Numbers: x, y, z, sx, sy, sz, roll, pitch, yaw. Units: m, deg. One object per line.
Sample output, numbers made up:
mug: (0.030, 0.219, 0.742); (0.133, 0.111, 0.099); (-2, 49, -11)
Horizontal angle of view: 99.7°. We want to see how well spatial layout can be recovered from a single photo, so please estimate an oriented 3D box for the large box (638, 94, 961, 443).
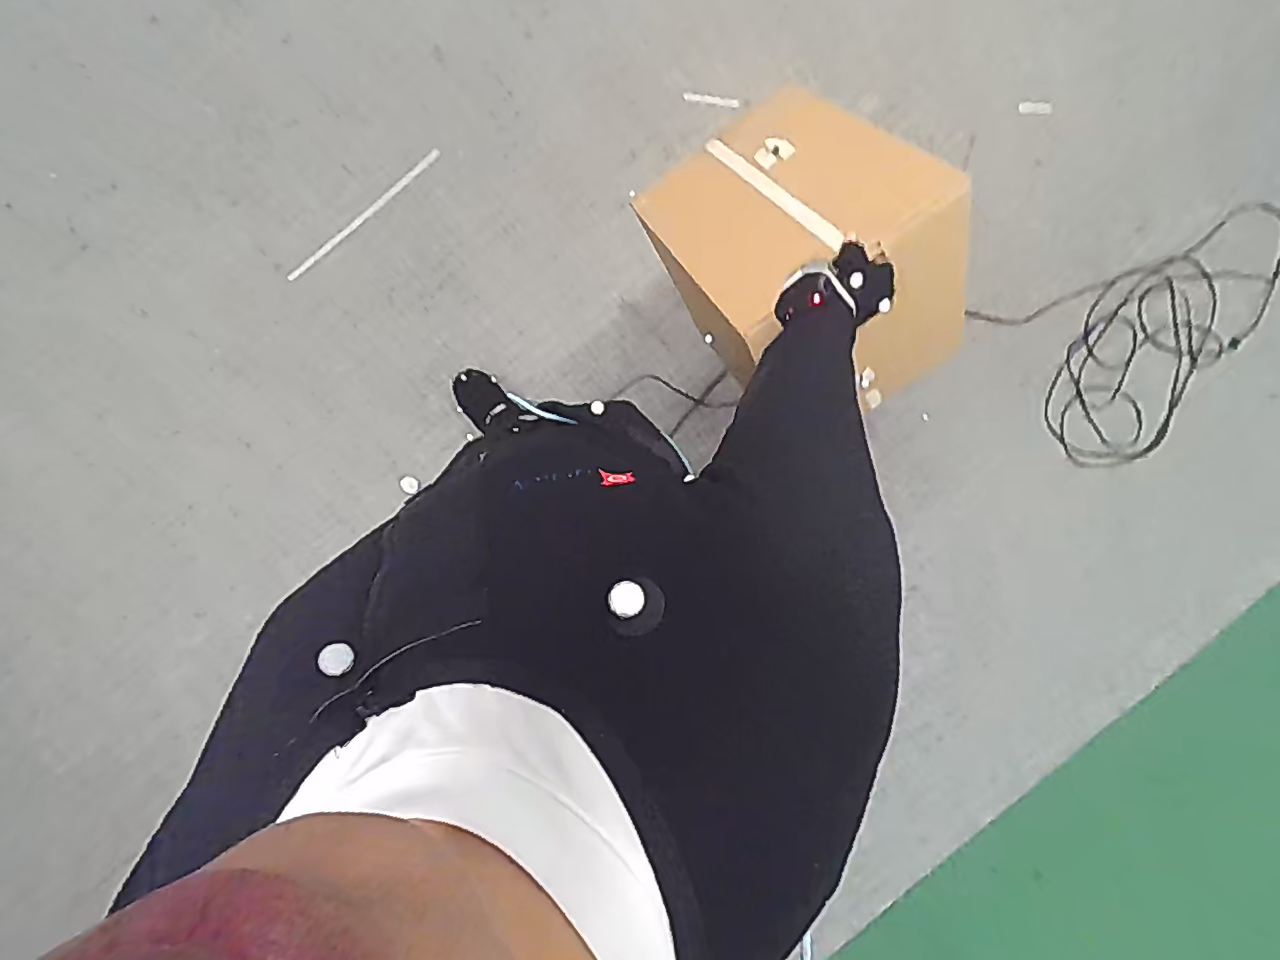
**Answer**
large box: (0.256, -0.341, 0.898); (0.320, 0.408, 0.320); (-32, 142, 8)
